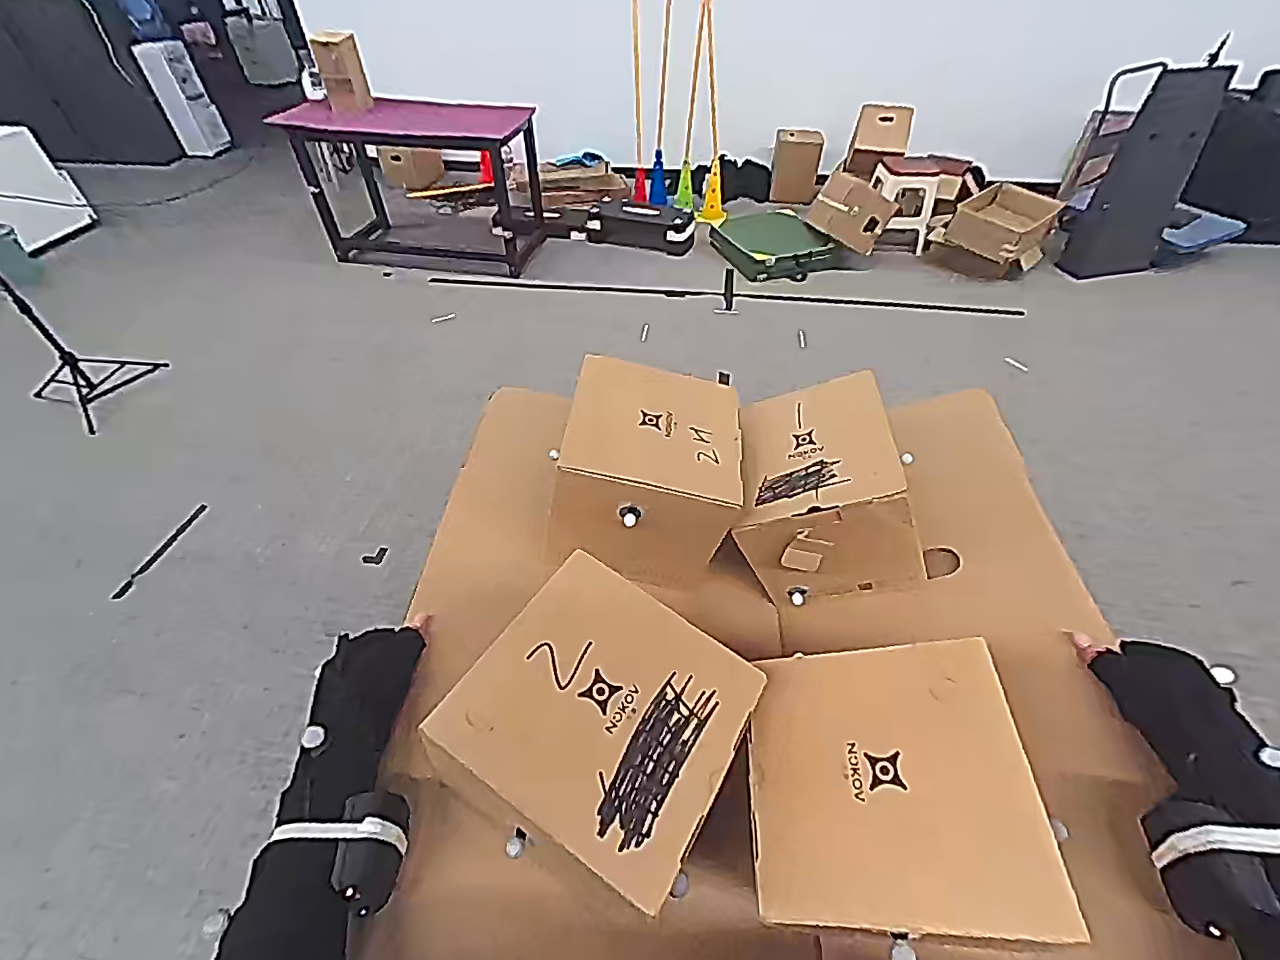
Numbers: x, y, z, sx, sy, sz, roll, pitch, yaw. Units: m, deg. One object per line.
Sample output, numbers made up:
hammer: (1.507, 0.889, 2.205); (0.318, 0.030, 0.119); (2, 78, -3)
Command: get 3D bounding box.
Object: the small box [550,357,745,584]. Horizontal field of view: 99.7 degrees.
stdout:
small box: (0.005, -0.003, 0.600); (0.179, 0.176, 0.168); (13, 50, -6)
